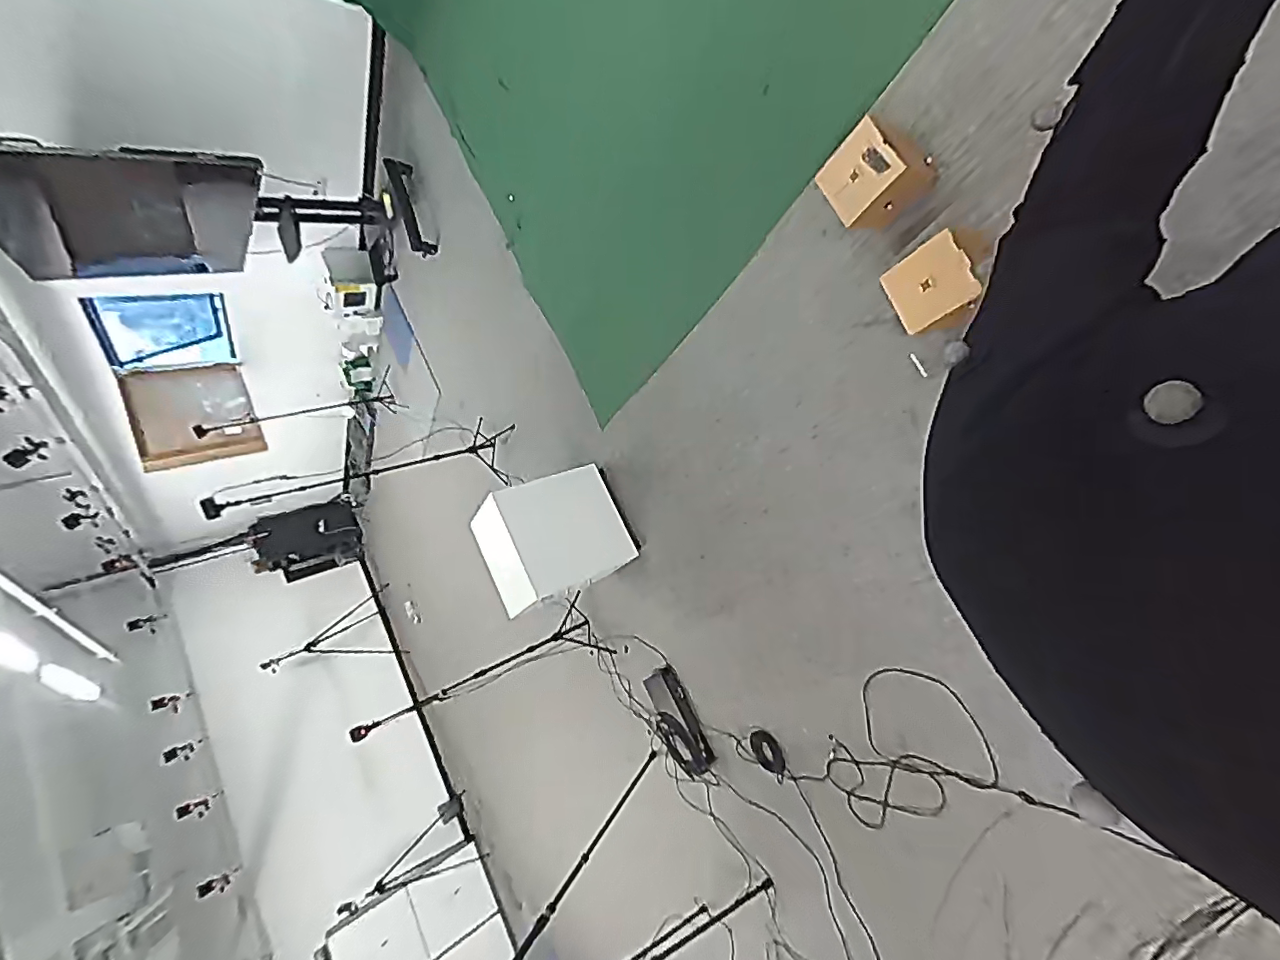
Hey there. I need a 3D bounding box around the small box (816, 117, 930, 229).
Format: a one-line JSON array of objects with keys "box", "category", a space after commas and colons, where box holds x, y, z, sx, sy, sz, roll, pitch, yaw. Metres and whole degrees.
[{"box": [0.580, -0.746, 1.332, 0.179, 0.176, 0.168, -43, 70, 51], "category": "small box"}]

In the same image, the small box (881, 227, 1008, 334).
[{"box": [0.717, -0.464, 1.272, 0.179, 0.176, 0.168, -35, 76, 51], "category": "small box"}]
